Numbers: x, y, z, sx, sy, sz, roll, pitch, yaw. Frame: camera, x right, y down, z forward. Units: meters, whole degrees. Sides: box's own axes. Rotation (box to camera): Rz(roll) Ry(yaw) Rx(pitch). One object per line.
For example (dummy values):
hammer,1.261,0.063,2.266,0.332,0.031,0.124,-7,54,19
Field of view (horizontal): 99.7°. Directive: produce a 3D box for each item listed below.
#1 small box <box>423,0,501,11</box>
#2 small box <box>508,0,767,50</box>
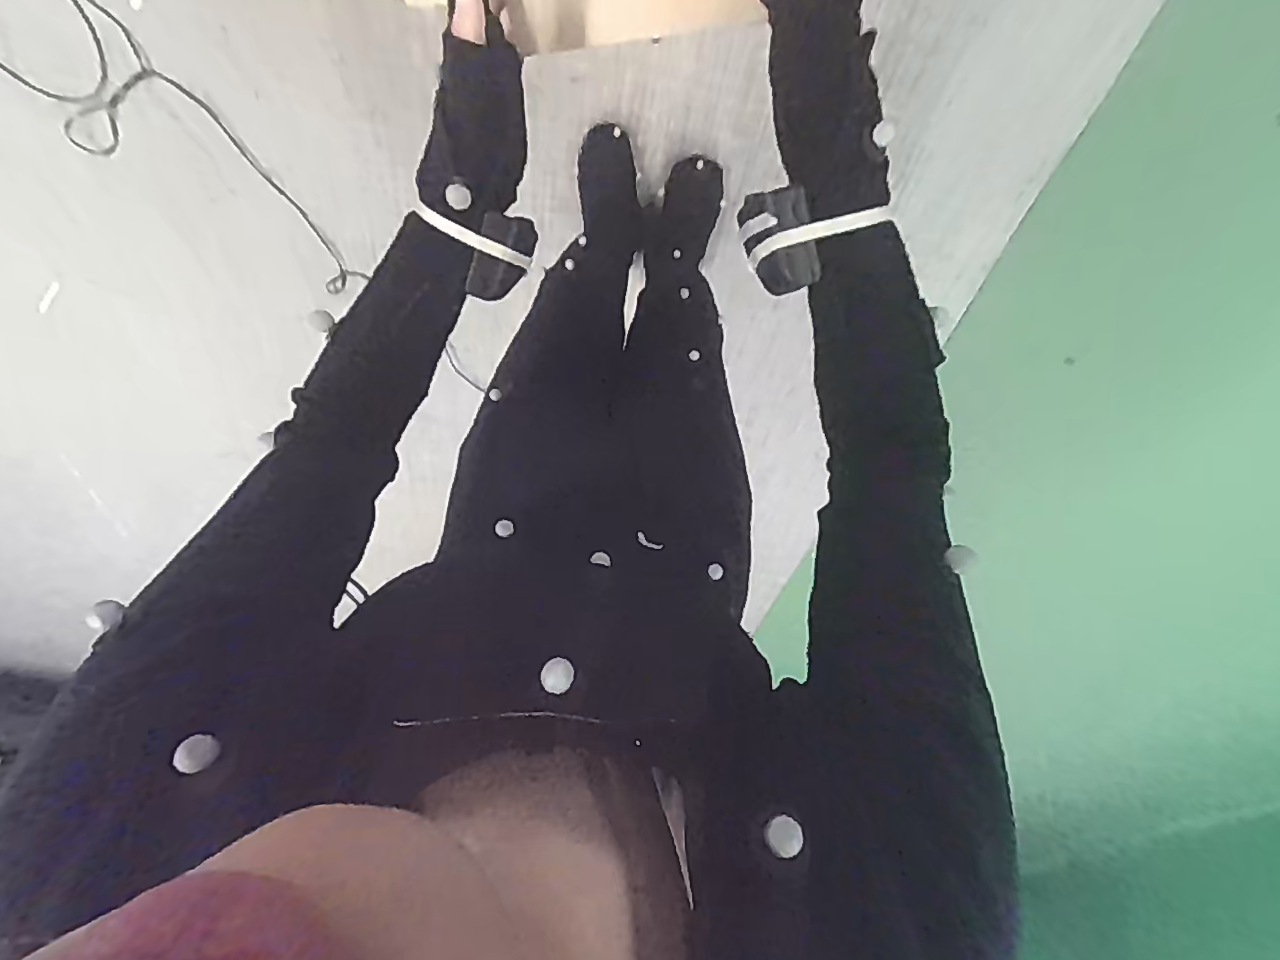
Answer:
small box,-0.305,-0.827,0.797,0.168,0.176,0.179,9,135,-2
small box,0.004,-0.399,0.329,0.168,0.176,0.179,3,140,13
